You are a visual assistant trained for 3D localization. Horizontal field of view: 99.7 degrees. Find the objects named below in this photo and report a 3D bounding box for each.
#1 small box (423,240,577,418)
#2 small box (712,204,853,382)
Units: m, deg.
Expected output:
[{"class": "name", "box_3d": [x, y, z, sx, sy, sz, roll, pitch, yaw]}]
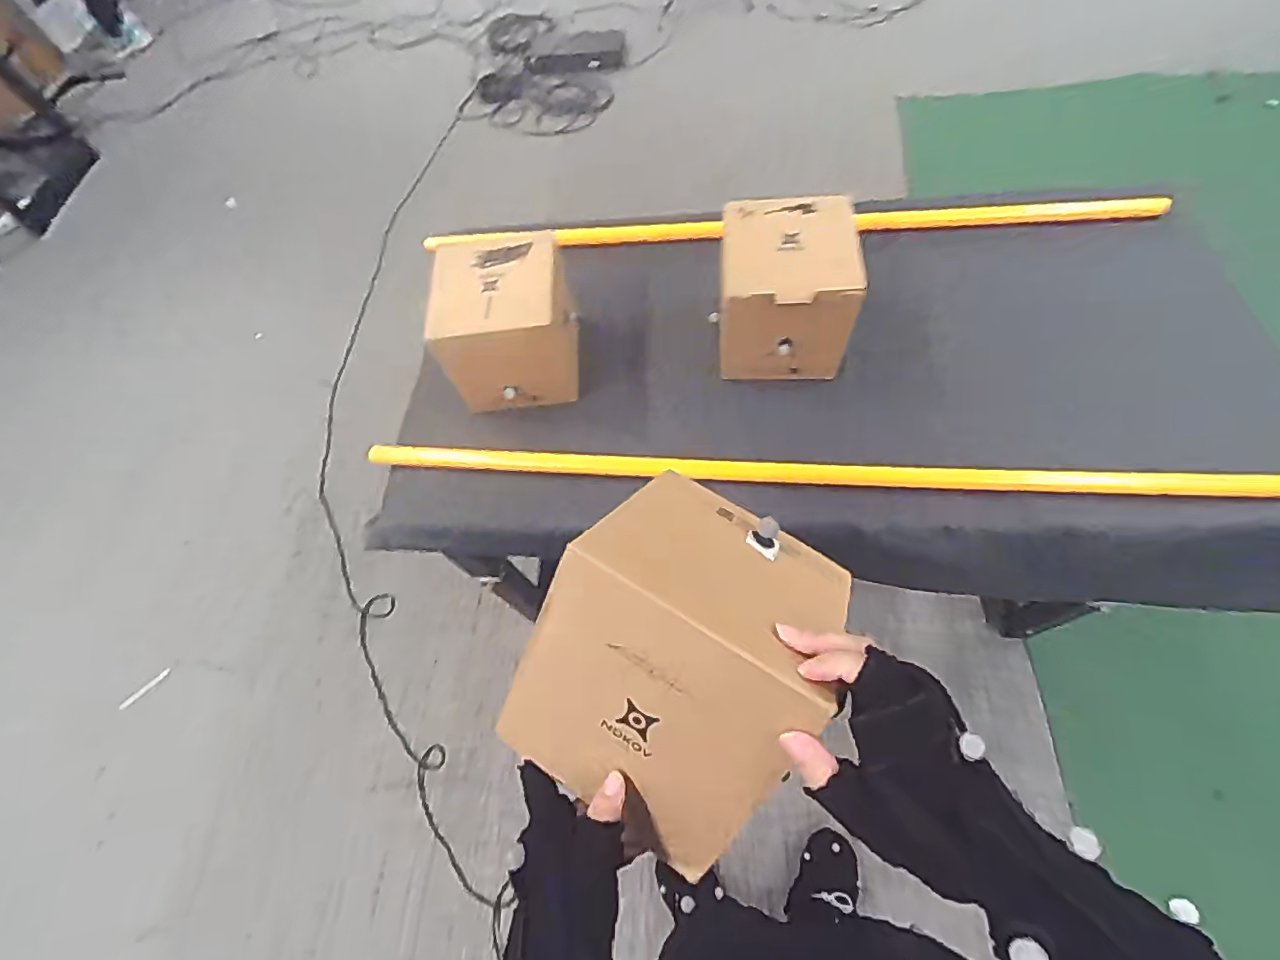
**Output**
[{"class": "small box", "box_3d": [-0.190, -0.213, 0.785, 0.168, 0.176, 0.179, -6, 63, 4]}, {"class": "small box", "box_3d": [0.189, -0.252, 0.763, 0.168, 0.176, 0.179, -3, 61, 7]}]
